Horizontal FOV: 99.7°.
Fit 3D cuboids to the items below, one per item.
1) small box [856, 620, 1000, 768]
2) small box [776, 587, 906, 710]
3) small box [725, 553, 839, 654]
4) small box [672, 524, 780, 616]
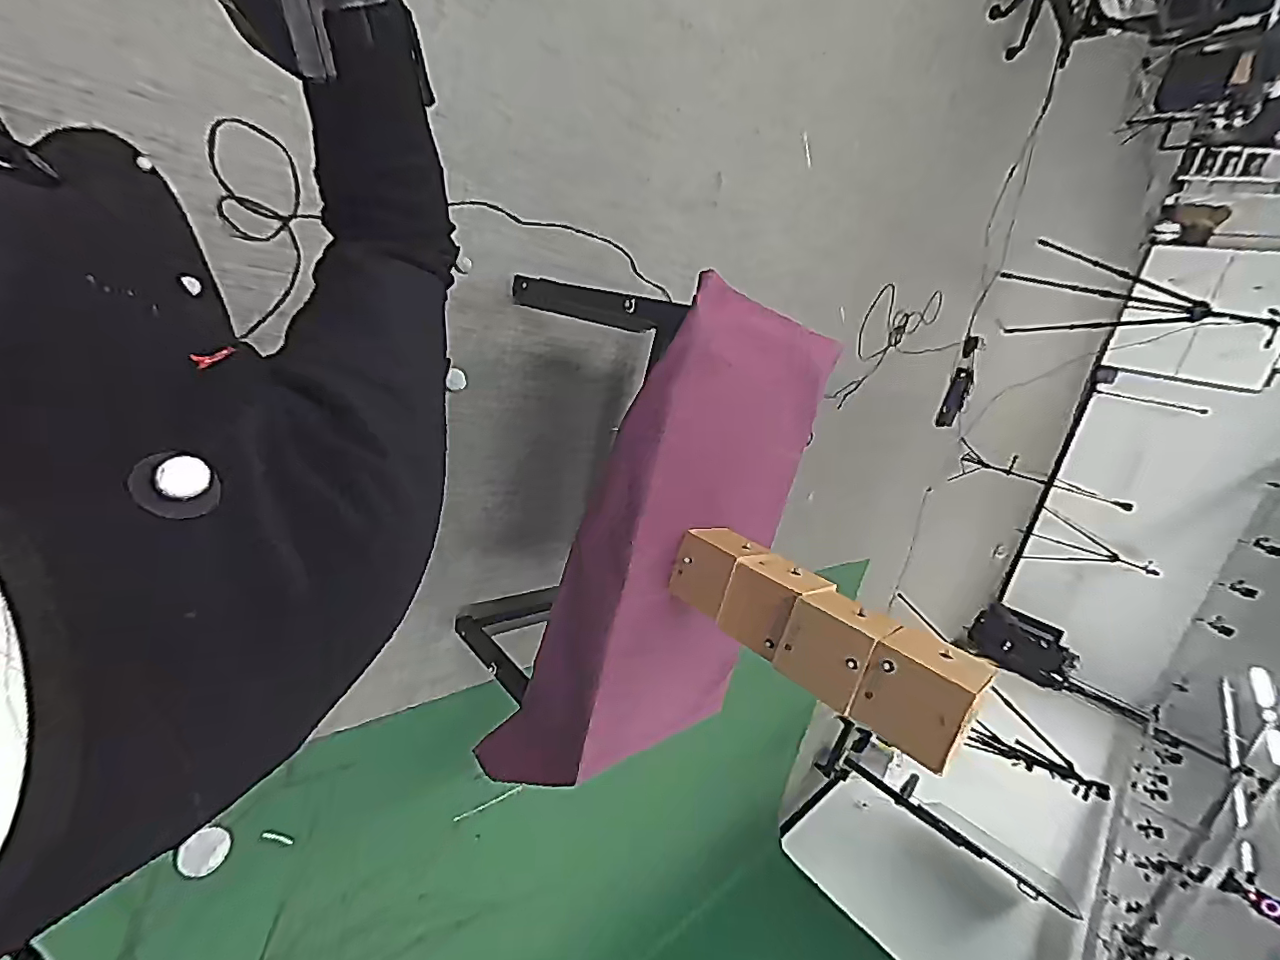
[{"bbox_3d":[0.532,0.386,1.009,0.179,0.176,0.168,0,111,-47],"label":"small box"},{"bbox_3d":[0.411,0.332,1.108,0.179,0.176,0.168,5,106,-48],"label":"small box"},{"bbox_3d":[0.318,0.275,1.233,0.168,0.176,0.179,2,109,-46],"label":"small box"},{"bbox_3d":[0.210,0.213,1.336,0.179,0.176,0.168,4,106,-46],"label":"small box"}]
